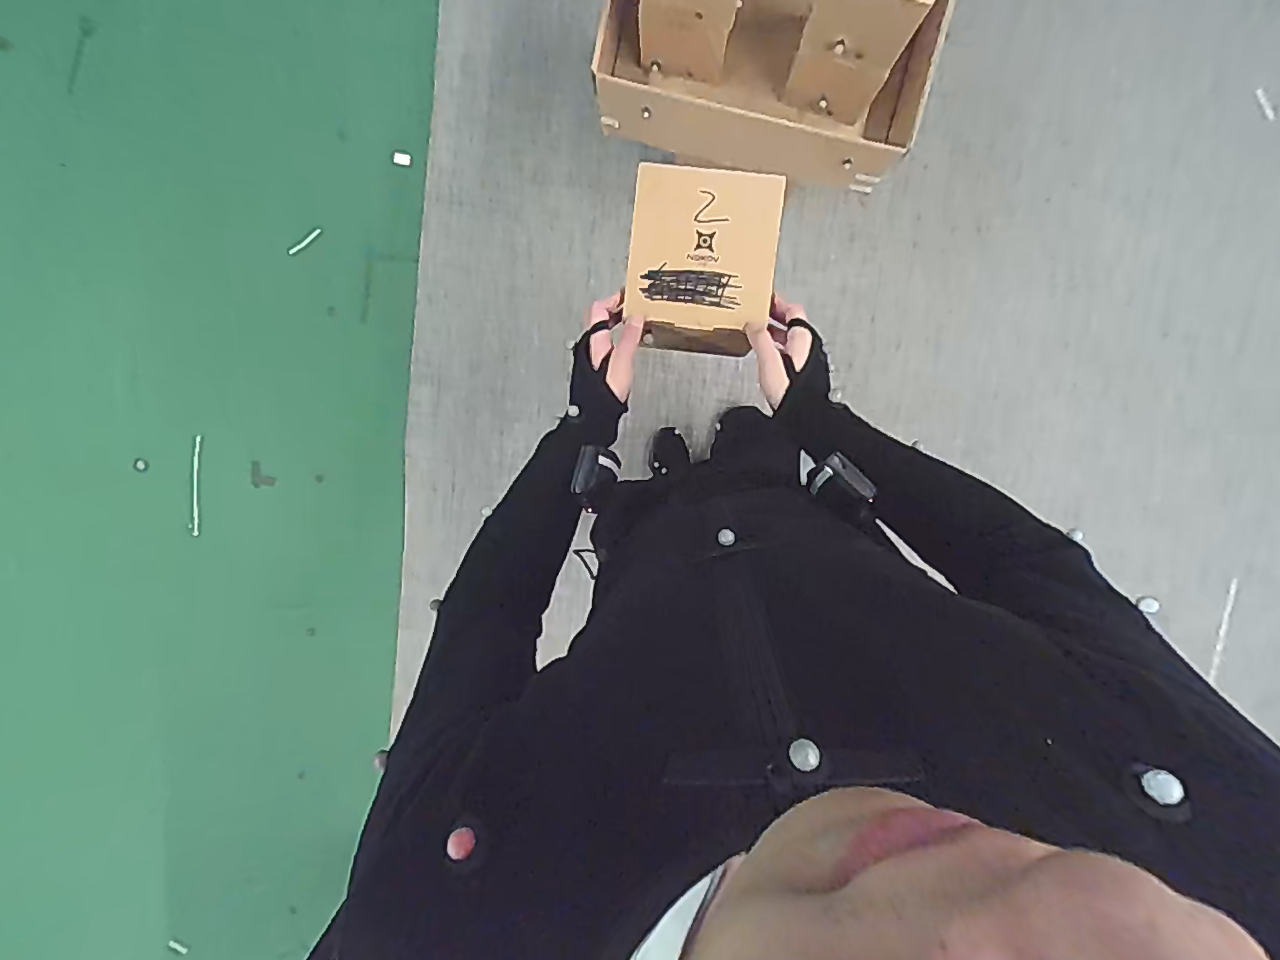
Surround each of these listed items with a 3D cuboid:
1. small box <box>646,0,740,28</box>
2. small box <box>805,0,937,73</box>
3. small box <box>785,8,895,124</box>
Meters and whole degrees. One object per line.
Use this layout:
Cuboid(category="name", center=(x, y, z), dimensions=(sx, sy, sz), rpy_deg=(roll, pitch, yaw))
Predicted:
Cuboid(category="small box", center=(0.098, -0.879, 0.856), dimensions=(0.168, 0.176, 0.179), rpy_deg=(11, 96, 1))
Cuboid(category="small box", center=(0.380, -0.807, 0.857), dimensions=(0.168, 0.176, 0.179), rpy_deg=(17, 97, 0))
Cuboid(category="small box", center=(0.390, -0.824, 1.019), dimensions=(0.168, 0.176, 0.179), rpy_deg=(18, 97, 0))
